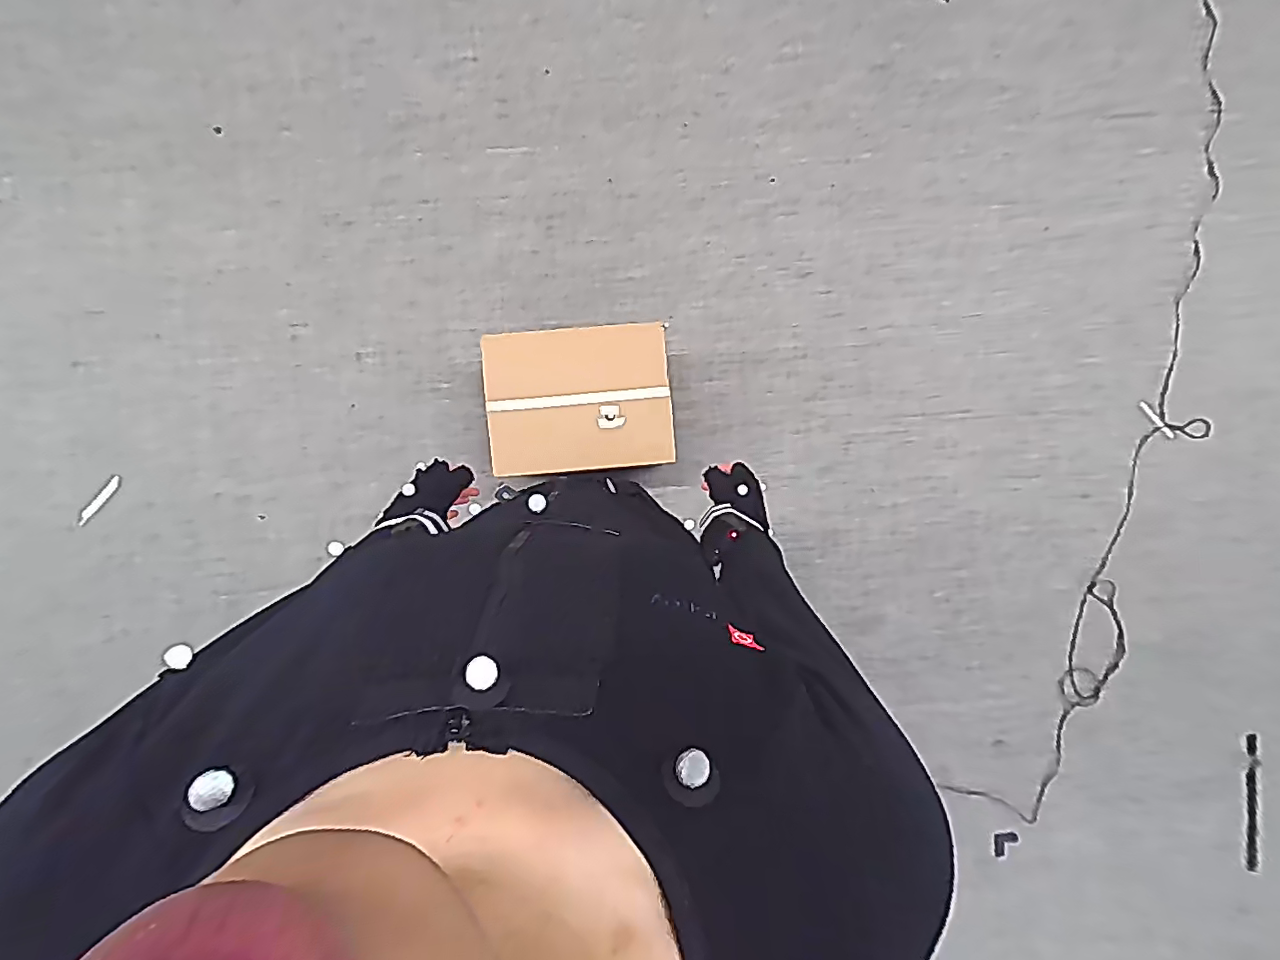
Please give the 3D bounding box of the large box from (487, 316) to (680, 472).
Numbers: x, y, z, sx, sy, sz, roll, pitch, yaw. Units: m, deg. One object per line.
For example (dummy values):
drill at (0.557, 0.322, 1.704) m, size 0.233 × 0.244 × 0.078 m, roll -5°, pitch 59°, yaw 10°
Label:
large box at (-0.130, -0.193, 1.336) m, size 0.408 × 0.320 × 0.320 m, roll -5°, pitch 92°, yaw -2°
